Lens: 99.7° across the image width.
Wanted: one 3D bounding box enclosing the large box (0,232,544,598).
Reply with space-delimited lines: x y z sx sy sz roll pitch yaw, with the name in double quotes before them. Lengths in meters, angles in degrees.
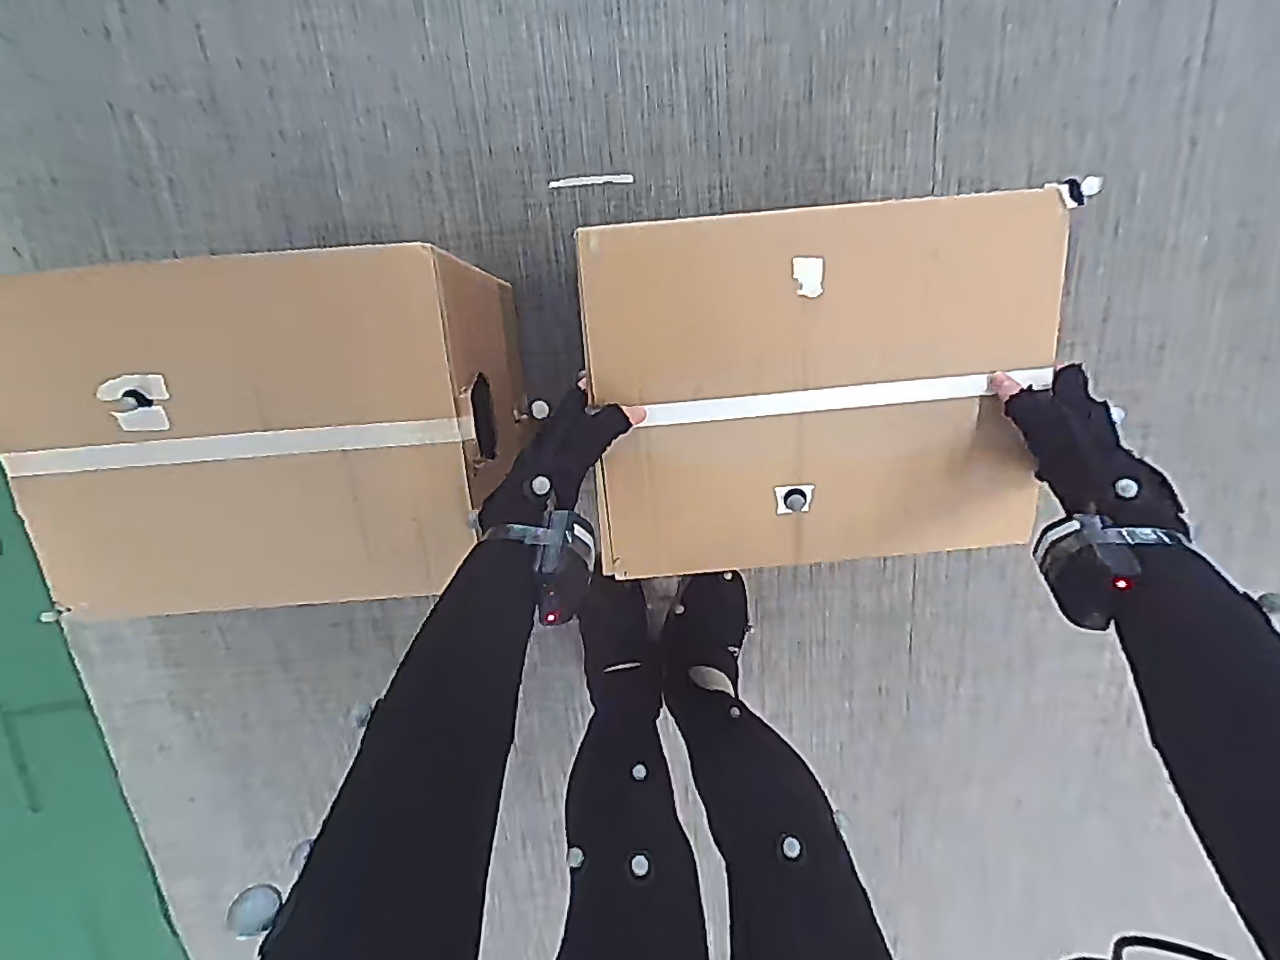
"large box" -0.351 -0.084 0.632 0.408 0.320 0.320 -3 105 1
